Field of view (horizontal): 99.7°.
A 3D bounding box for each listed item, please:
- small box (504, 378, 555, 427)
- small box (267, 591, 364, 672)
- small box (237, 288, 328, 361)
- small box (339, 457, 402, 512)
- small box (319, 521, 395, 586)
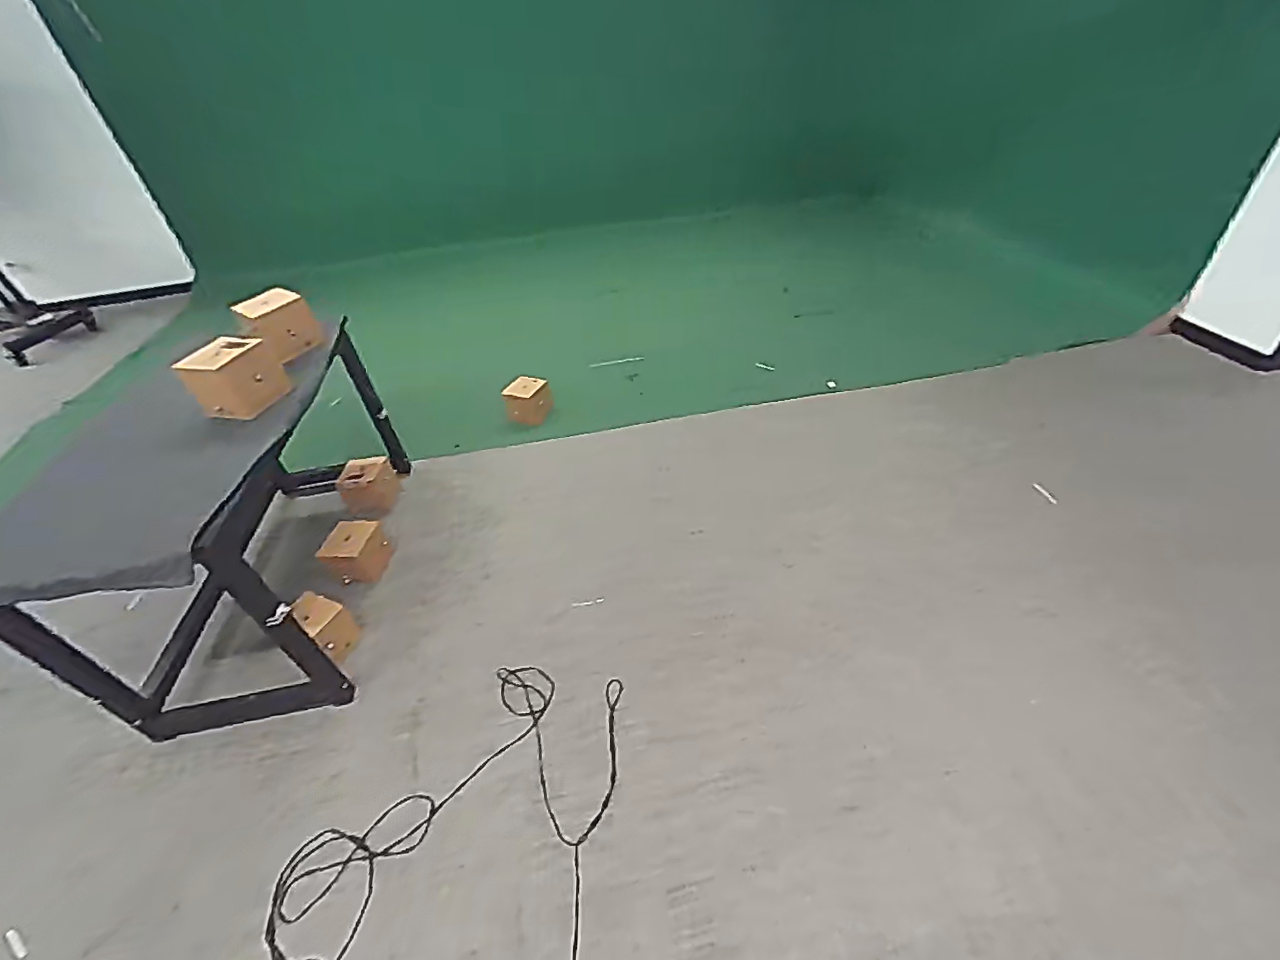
[{"bbox_3d":[-0.549,-0.387,2.715,0.168,0.176,0.179,14,45,22],"label":"small box"},{"bbox_3d":[-1.041,0.495,1.752,0.179,0.176,0.168,13,44,21],"label":"small box"},{"bbox_3d":[-1.198,-0.522,1.825,0.179,0.176,0.168,23,51,31],"label":"small box"},{"bbox_3d":[-1.144,0.024,2.309,0.168,0.176,0.179,-5,40,0],"label":"small box"},{"bbox_3d":[-1.039,0.272,2.009,0.168,0.176,0.179,-1,42,8],"label":"small box"}]
